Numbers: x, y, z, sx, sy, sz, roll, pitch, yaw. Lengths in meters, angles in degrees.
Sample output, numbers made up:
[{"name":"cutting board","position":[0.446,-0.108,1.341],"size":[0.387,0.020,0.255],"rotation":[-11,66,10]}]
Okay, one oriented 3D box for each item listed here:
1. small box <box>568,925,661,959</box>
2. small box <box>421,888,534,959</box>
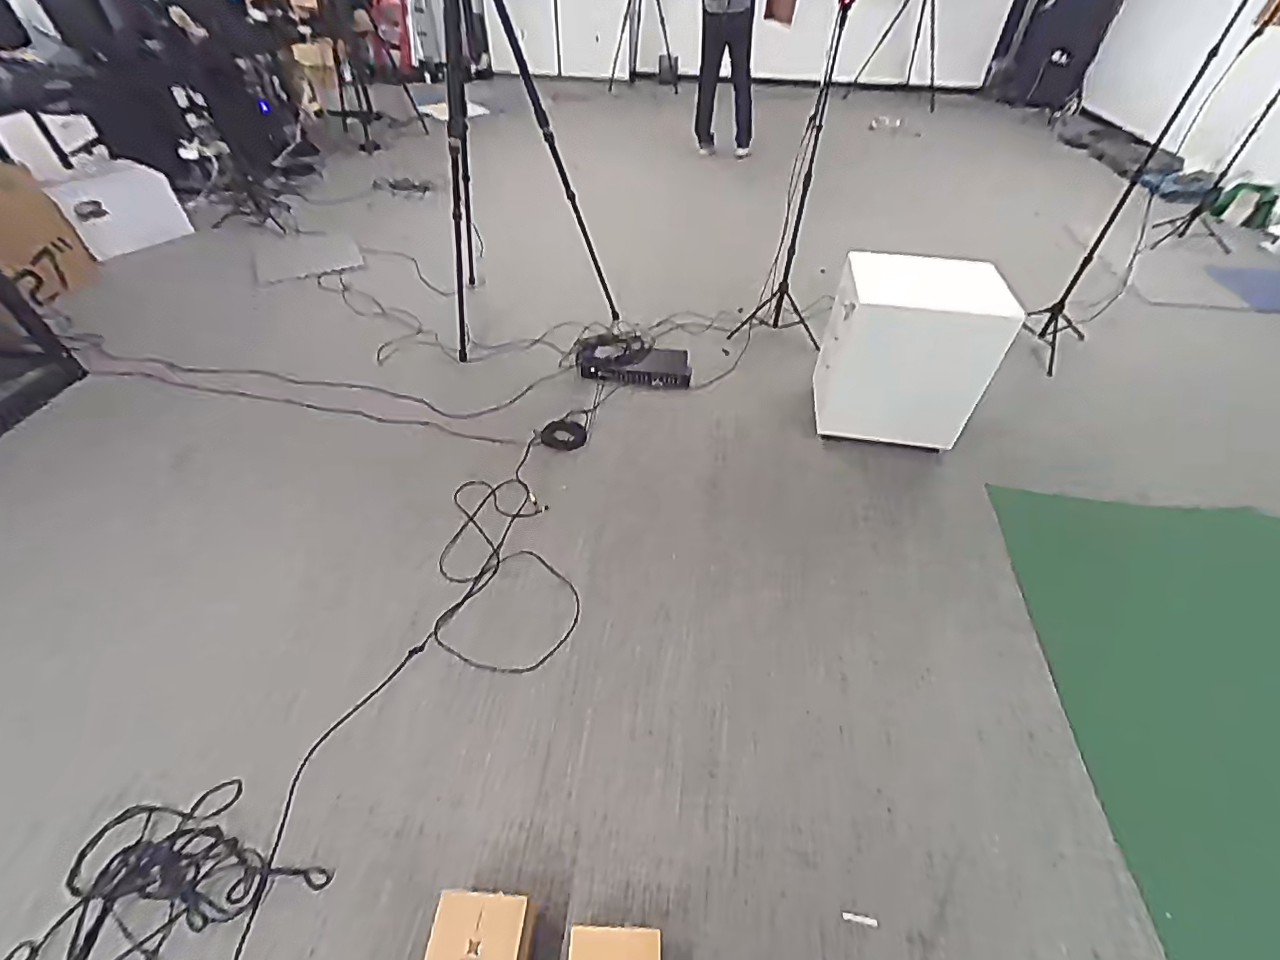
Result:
[{"name":"small box","position":[-0.050,0.929,0.979],"size":[0.168,0.176,0.179],"rotation":[2,47,0]},{"name":"small box","position":[-0.300,0.889,1.008],"size":[0.168,0.176,0.179],"rotation":[4,45,2]}]
